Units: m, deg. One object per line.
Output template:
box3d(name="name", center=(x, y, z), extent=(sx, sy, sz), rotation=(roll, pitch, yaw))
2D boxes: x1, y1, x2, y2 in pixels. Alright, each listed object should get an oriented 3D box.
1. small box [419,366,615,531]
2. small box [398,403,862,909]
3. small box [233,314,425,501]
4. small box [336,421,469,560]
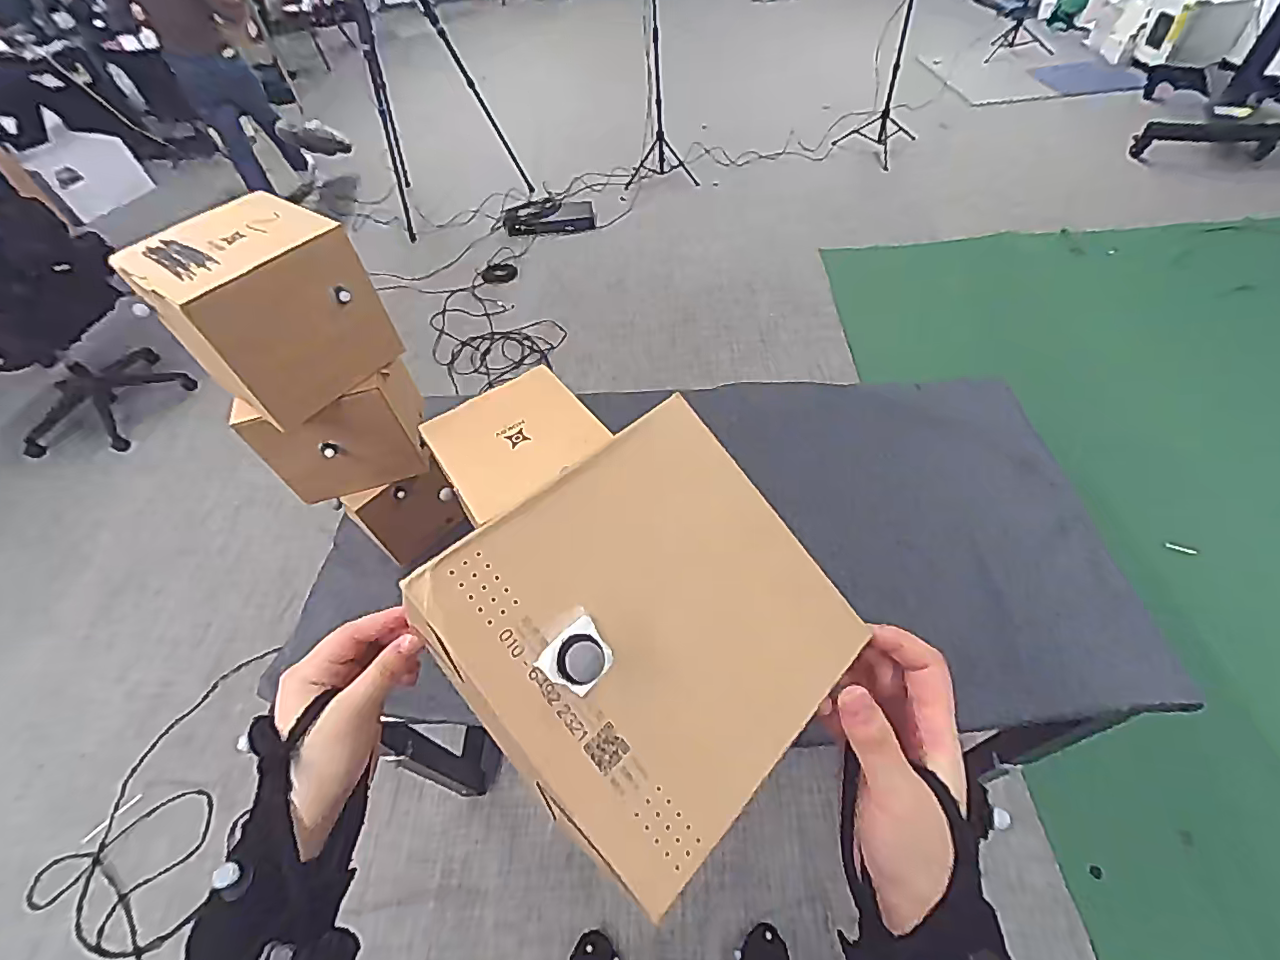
box3d(name="small box", center=(-0.127, 0.003, 0.648), extent=(0.168, 0.176, 0.179), rotation=(-31, 54, -18))
box3d(name="small box", center=(-0.020, 0.090, 0.320), extent=(0.176, 0.179, 0.168), rotation=(-38, 88, -27))
box3d(name="small box", center=(-0.415, -0.097, 0.756), extent=(0.179, 0.176, 0.168), rotation=(-17, 53, -7))
box3d(name="small box", center=(-0.401, 0.001, 0.888), extent=(0.179, 0.176, 0.168), rotation=(32, 62, 27))
